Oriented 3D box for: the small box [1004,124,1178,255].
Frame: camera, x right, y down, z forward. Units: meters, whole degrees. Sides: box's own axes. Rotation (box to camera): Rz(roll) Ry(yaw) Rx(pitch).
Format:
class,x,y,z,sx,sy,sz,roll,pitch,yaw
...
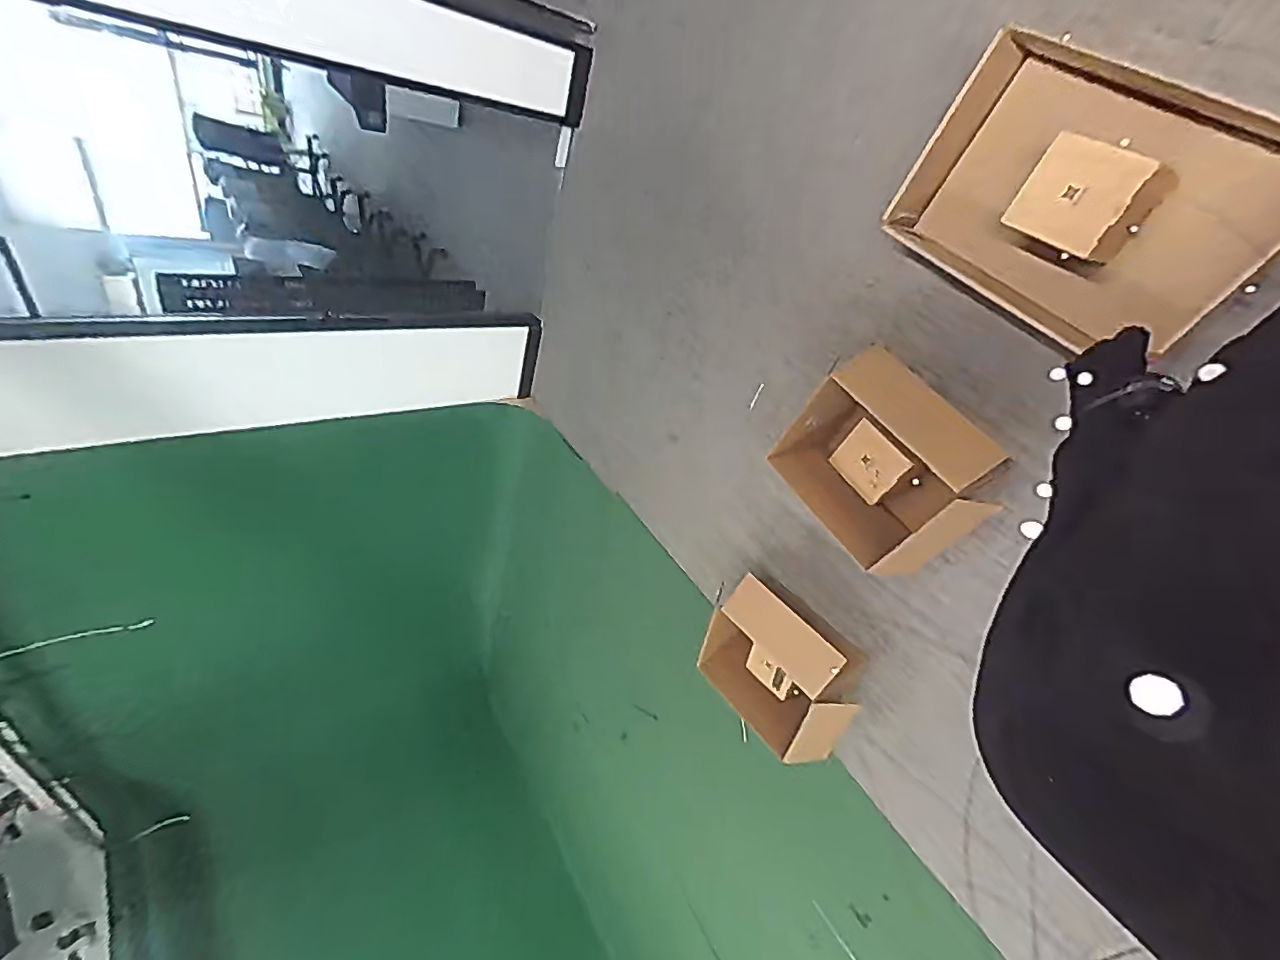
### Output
class,x,y,z,sx,sy,sz,roll,pitch,yaw
small box,0.853,-0.543,1.028,0.179,0.176,0.168,48,135,32
